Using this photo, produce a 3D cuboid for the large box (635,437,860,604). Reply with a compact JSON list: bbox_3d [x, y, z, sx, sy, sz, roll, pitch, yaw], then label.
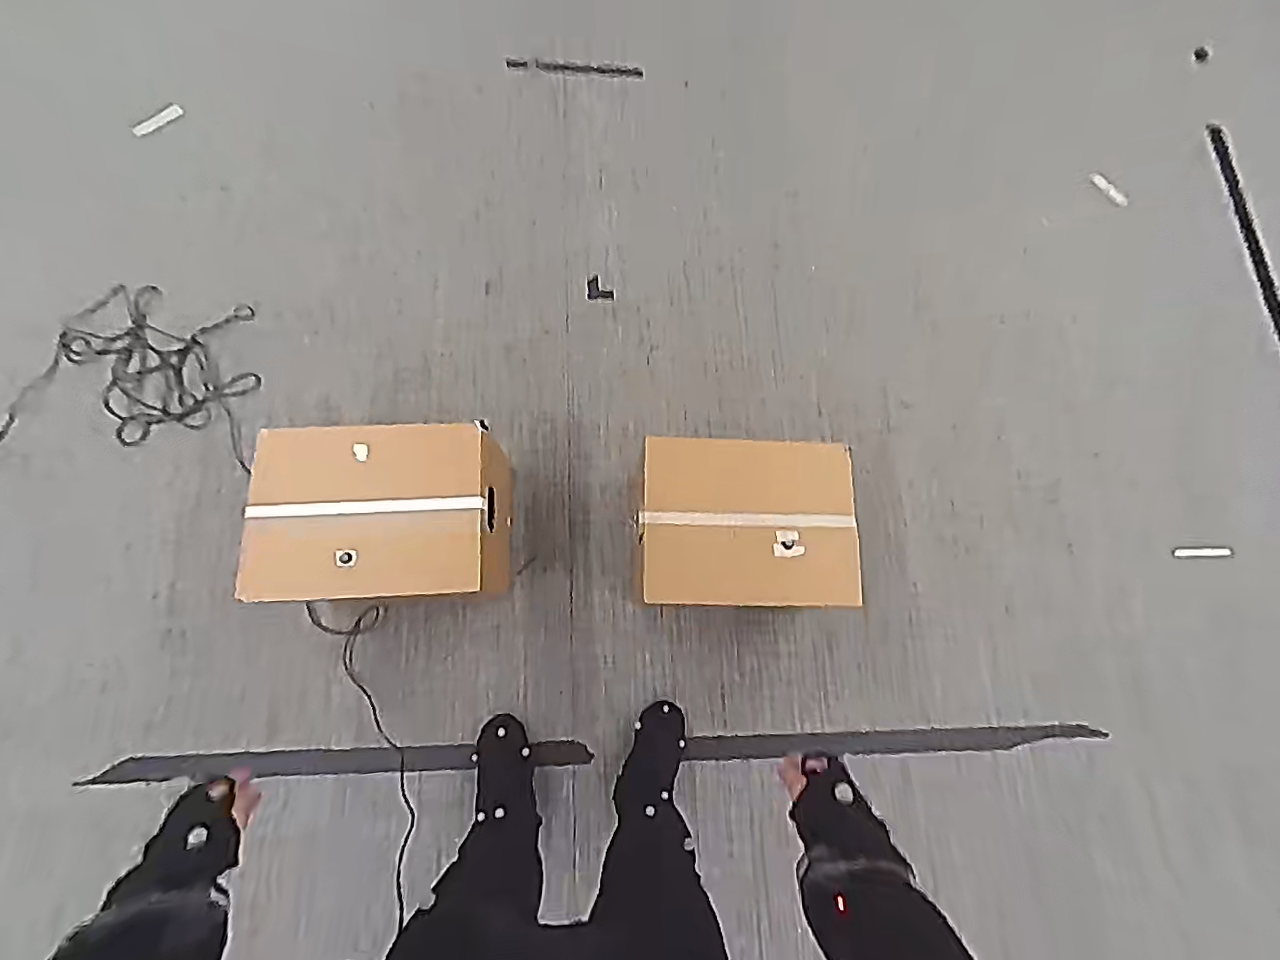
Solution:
[{"bbox_3d":[0.199,0.106,1.164,0.408,0.320,0.320,2,77,-4],"label":"large box"}]
